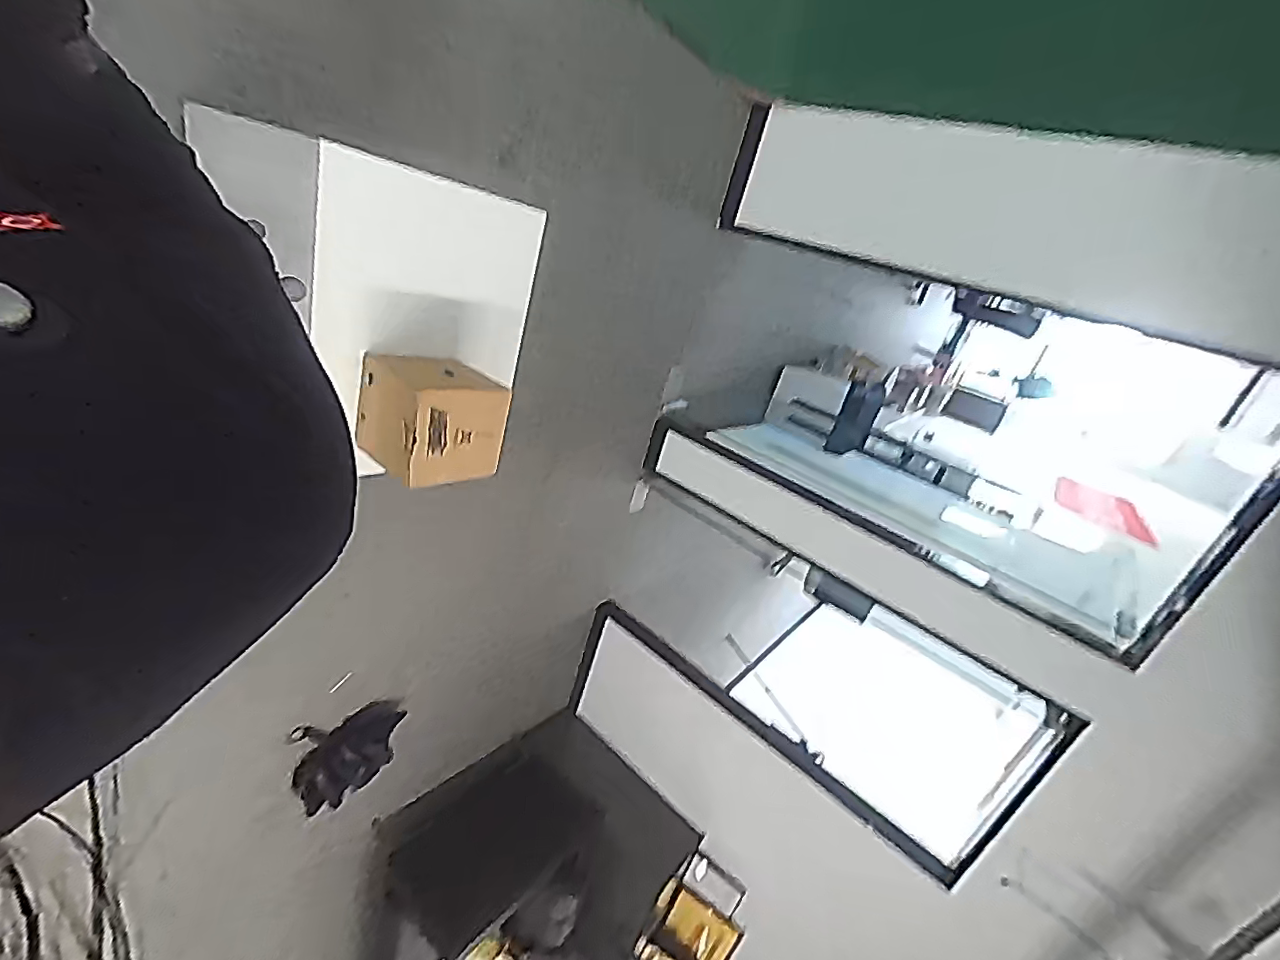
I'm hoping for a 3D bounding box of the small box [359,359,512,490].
[{"bbox_3d":[-0.350,-0.100,0.917,0.179,0.176,0.168,-12,125,-53],"label":"small box"}]
